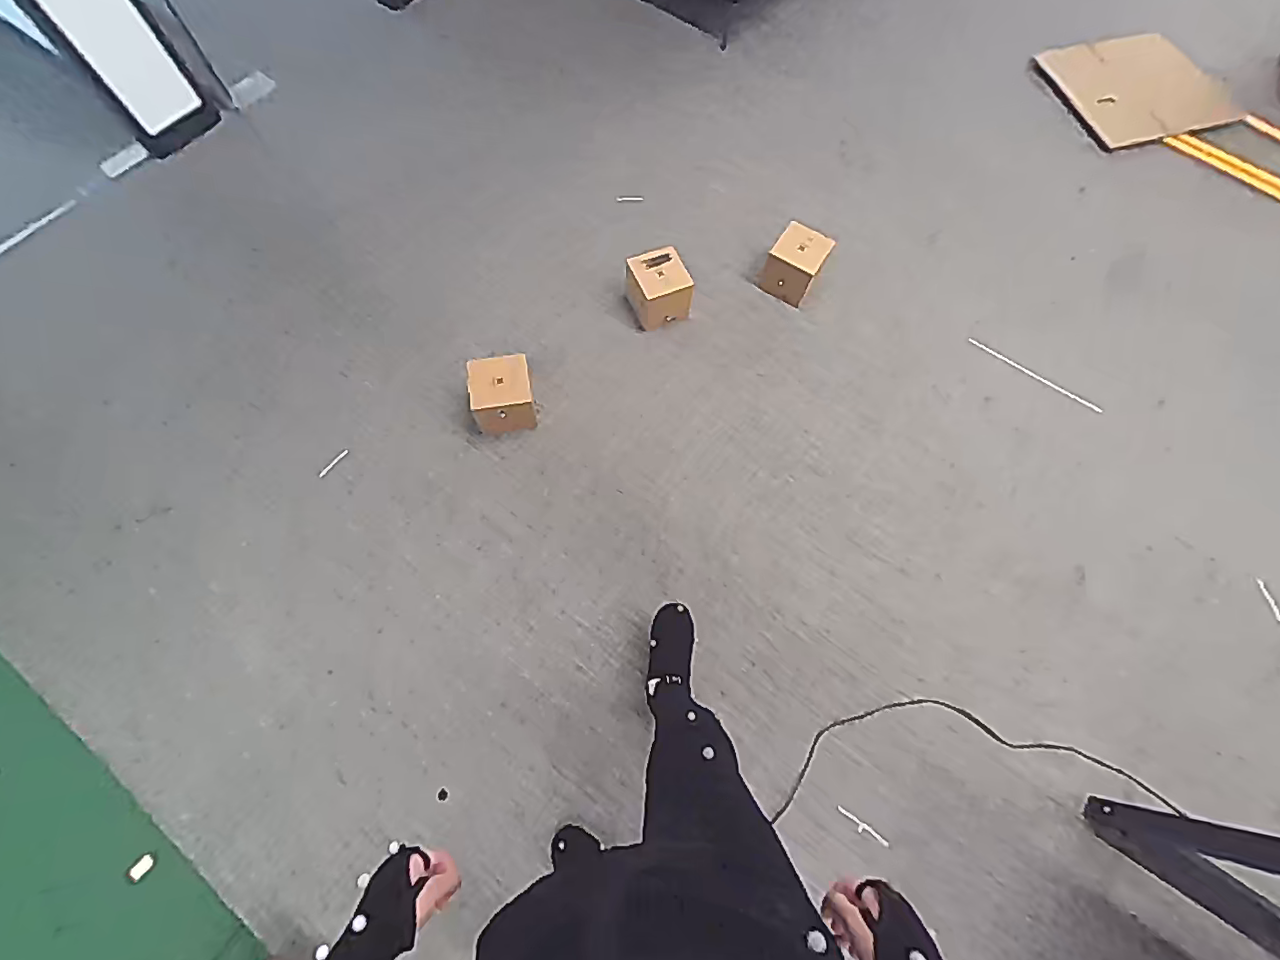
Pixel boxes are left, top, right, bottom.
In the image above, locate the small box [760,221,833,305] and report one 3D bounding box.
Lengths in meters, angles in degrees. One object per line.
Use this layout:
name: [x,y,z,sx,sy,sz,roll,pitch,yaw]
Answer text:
small box: [0.530,-0.742,1.864,0.168,0.176,0.179,32,71,9]
